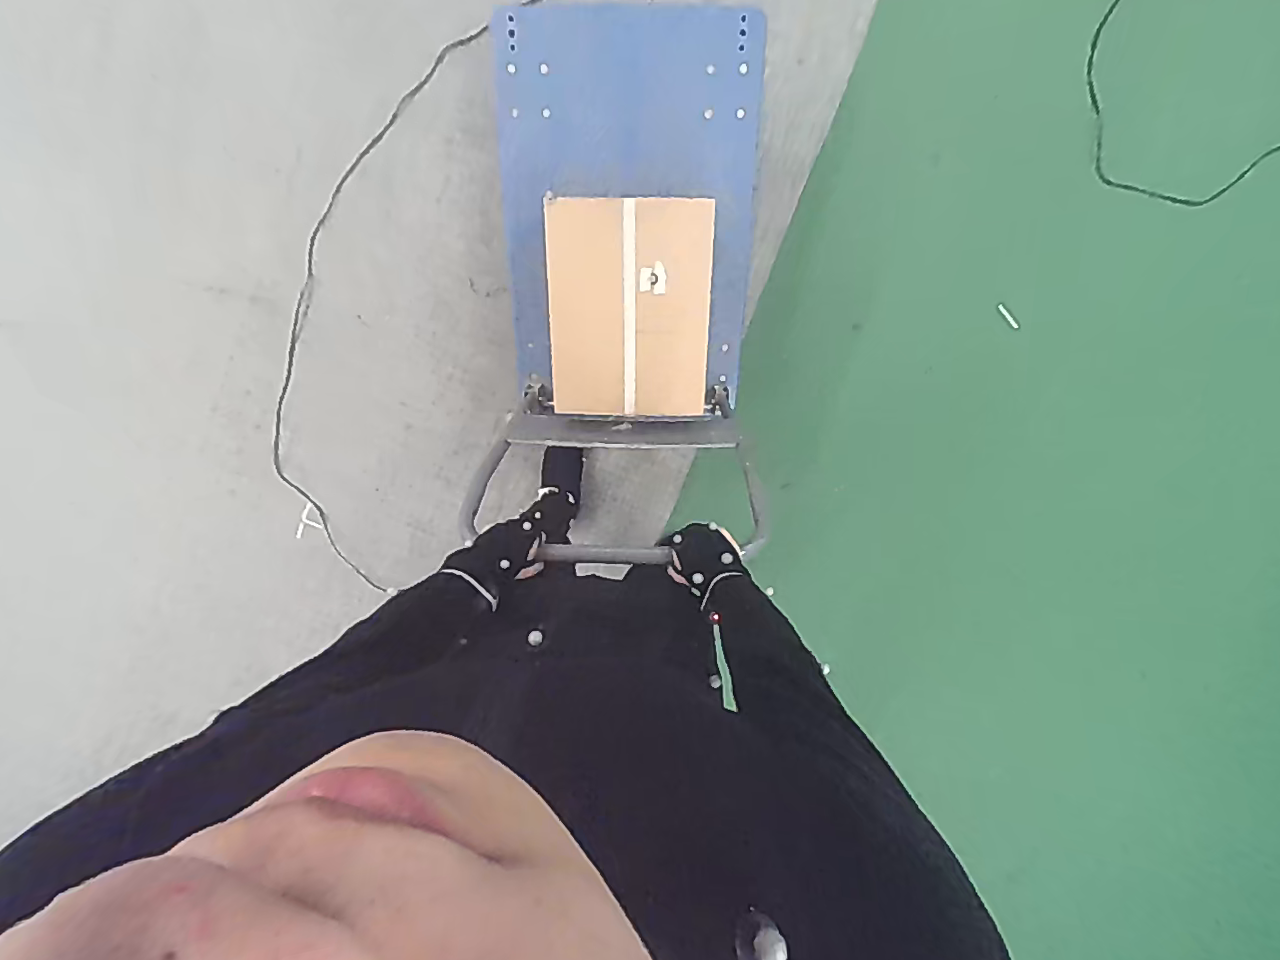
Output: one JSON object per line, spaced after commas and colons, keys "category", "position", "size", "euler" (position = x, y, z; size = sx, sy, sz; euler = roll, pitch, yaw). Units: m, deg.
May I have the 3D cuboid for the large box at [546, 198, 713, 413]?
{"category": "large box", "position": [-0.012, -0.377, 1.188], "size": [0.320, 0.320, 0.408], "euler": [1, 112, 1]}
